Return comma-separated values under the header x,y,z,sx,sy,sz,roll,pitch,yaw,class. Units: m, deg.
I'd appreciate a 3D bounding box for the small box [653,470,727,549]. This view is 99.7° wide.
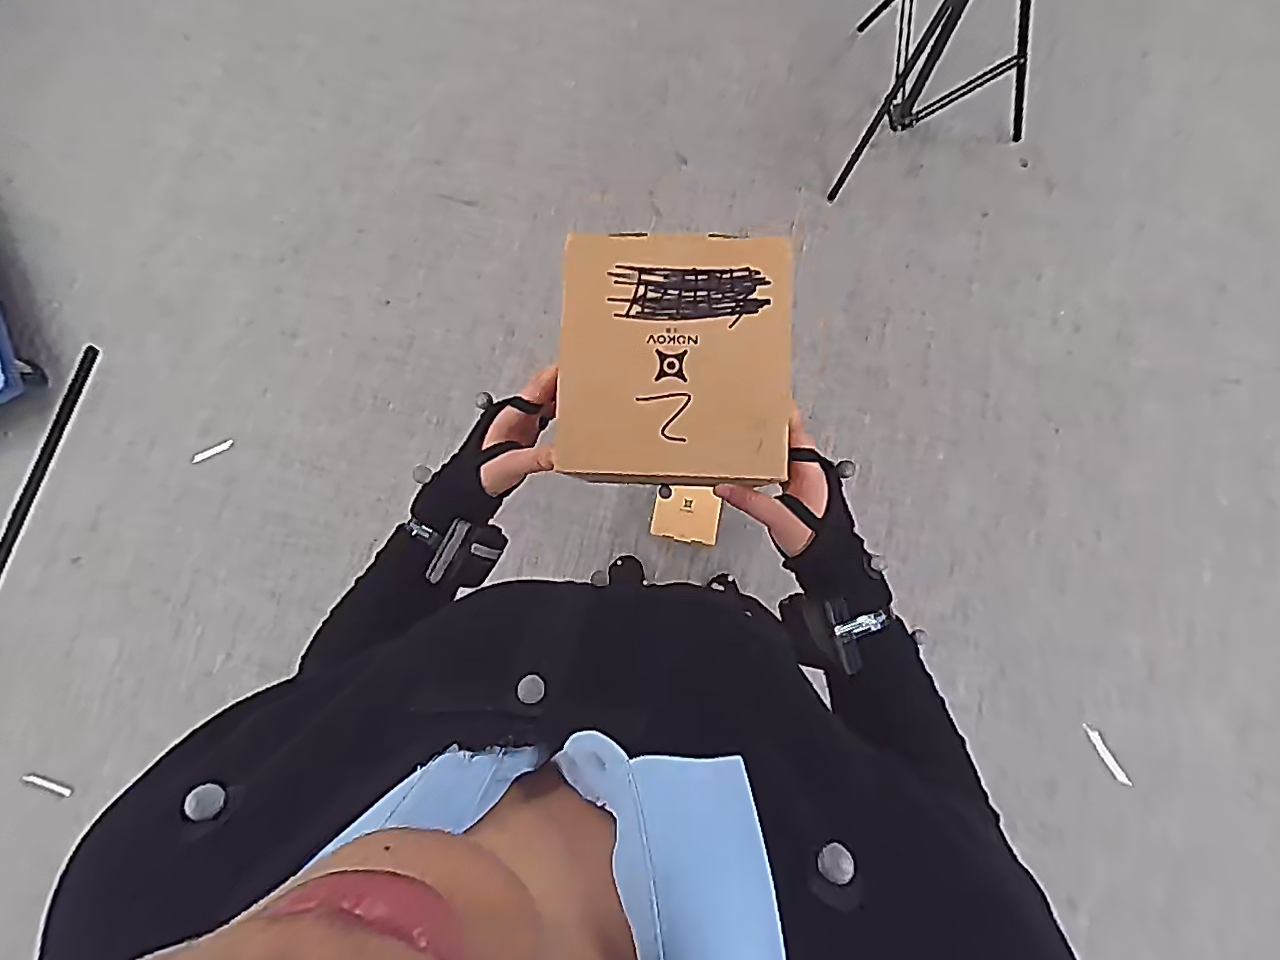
x,y,z,sx,sy,sz,roll,pitch,yaw,class
0.129,0.083,1.436,0.168,0.176,0.179,9,82,5,small box
